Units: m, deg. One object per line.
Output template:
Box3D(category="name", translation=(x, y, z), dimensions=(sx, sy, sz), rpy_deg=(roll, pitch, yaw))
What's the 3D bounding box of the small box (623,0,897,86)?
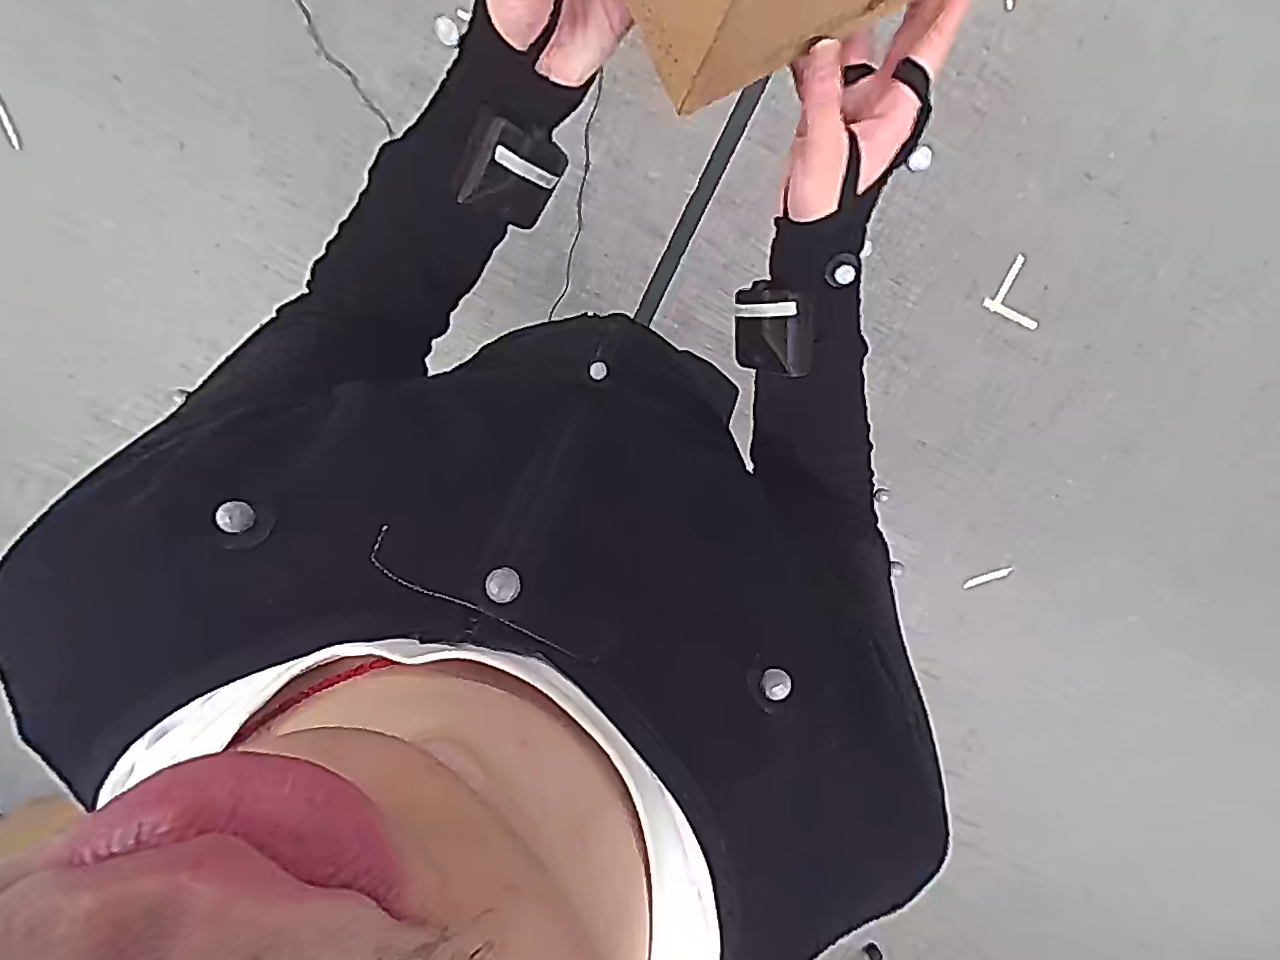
Box3D(category="small box", translation=(0.064, -0.291, 0.198), dimensions=(0.168, 0.176, 0.179), rpy_deg=(-30, 104, -3))
